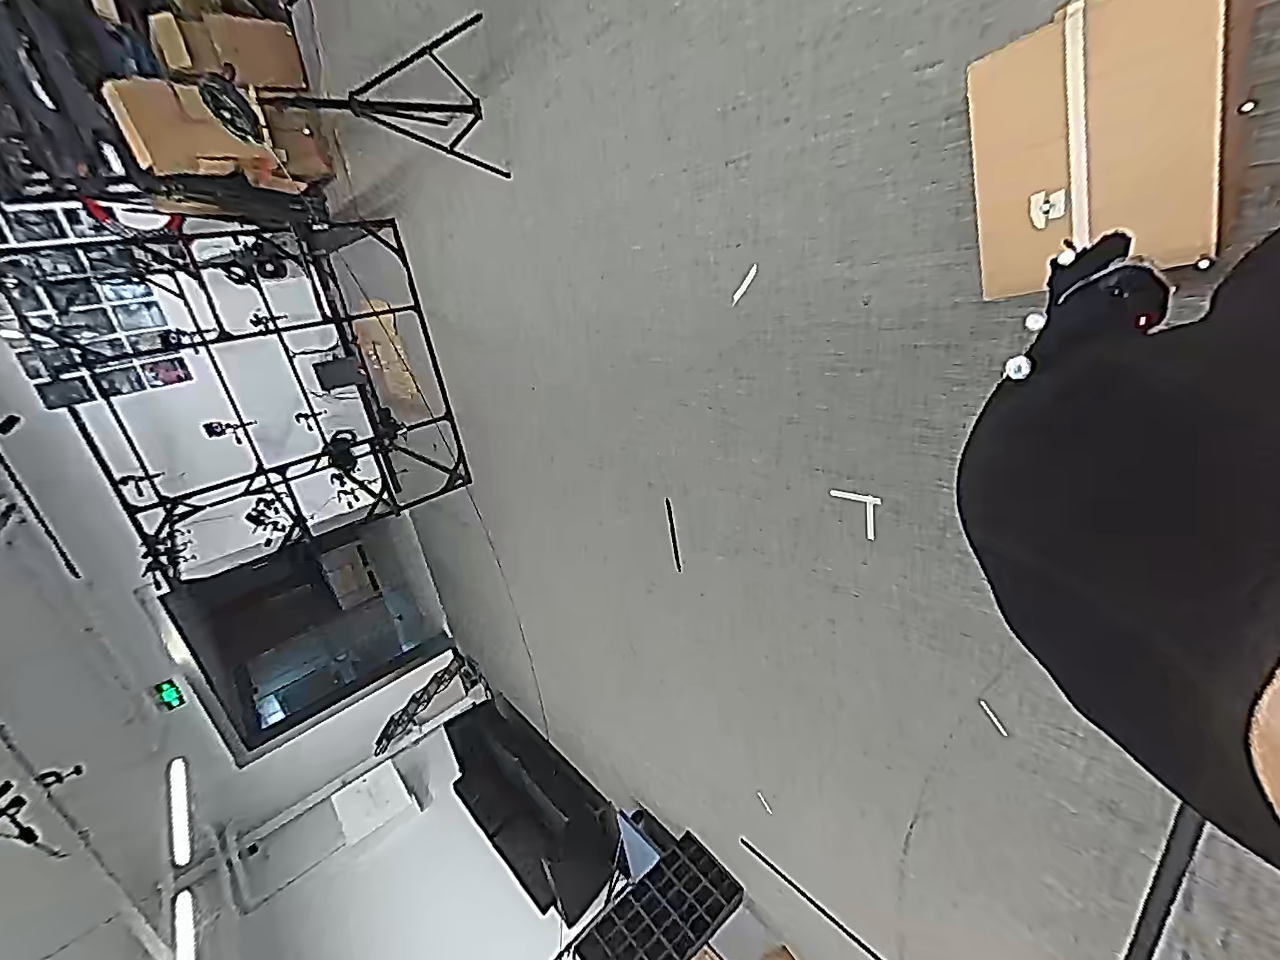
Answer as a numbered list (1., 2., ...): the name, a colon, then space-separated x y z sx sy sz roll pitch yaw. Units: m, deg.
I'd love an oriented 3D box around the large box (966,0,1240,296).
1. large box: 0.831 -0.590 0.968 0.320 0.320 0.408 6 116 52
